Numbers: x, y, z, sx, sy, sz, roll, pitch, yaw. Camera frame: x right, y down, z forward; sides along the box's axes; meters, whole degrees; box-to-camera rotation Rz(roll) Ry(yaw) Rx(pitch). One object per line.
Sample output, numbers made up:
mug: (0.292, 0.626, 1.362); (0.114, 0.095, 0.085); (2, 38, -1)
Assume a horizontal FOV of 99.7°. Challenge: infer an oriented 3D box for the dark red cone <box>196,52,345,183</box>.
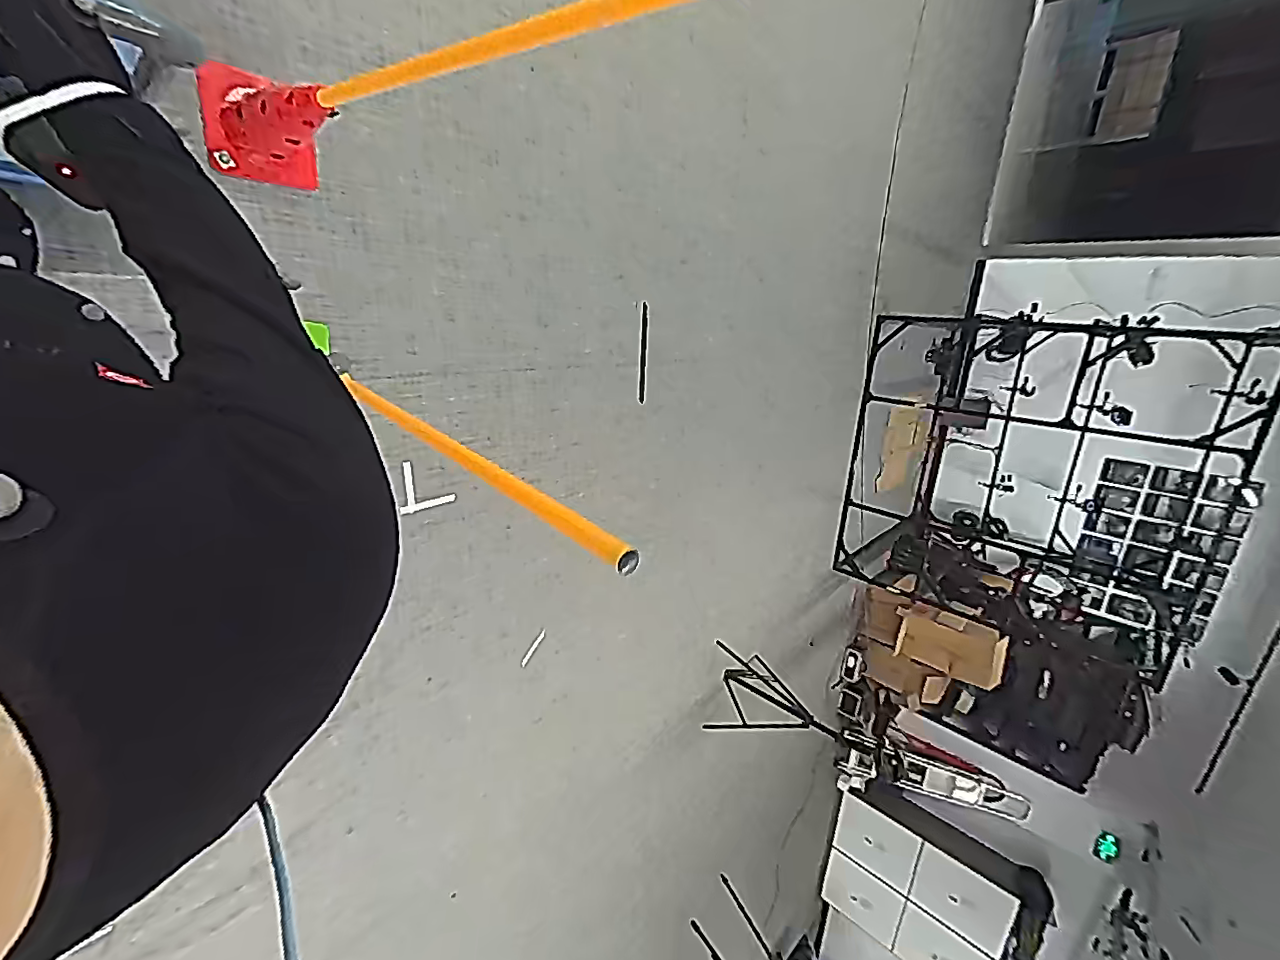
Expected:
dark red cone: (-0.655, -0.701, 1.013); (0.201, 0.394, 0.202); (-16, 116, -47)
